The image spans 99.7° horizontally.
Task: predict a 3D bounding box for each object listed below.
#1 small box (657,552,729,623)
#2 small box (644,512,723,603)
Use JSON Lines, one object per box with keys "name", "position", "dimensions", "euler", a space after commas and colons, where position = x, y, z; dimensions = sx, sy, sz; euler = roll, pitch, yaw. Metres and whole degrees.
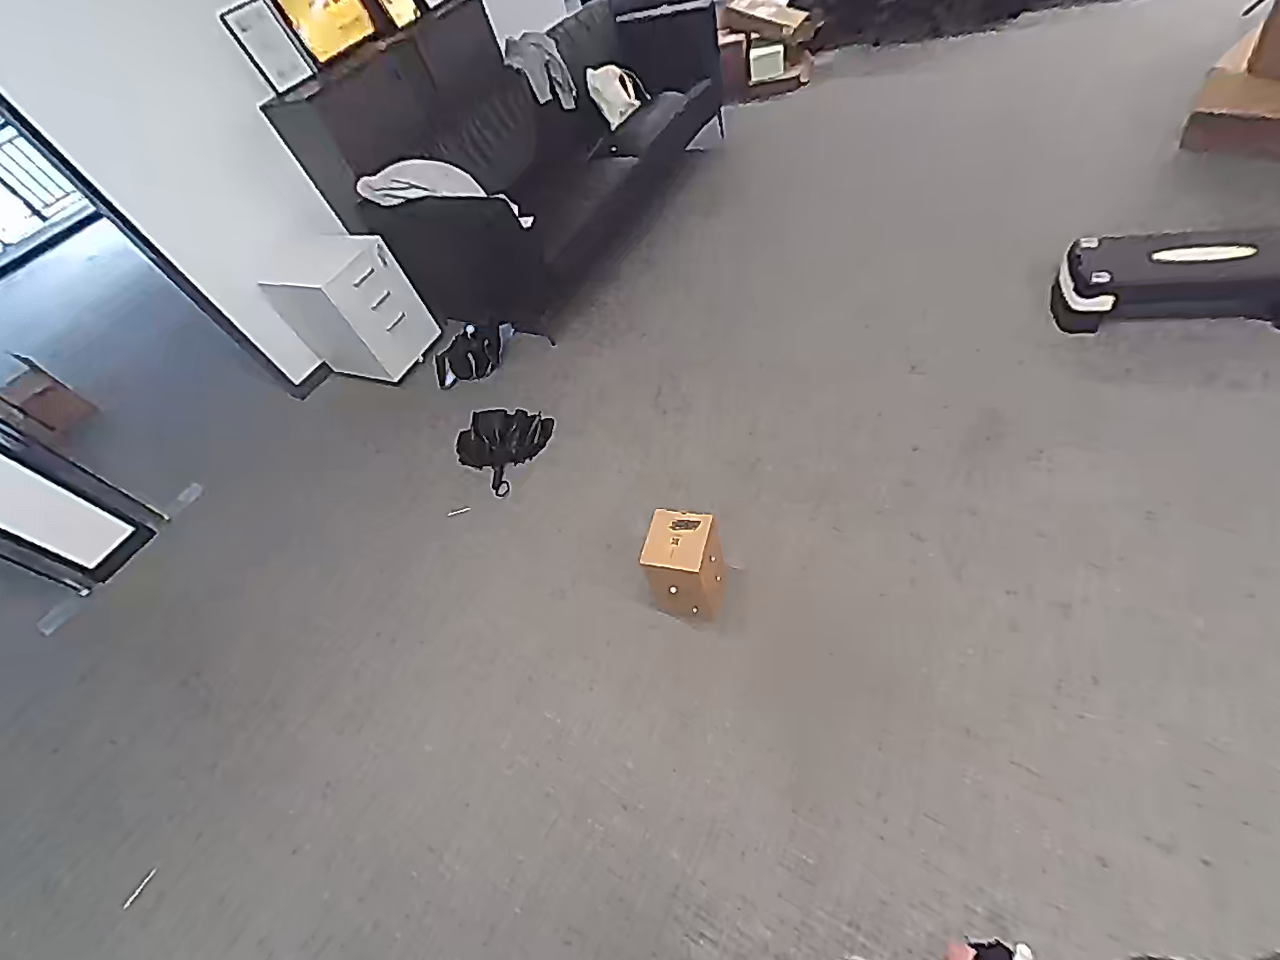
{"name": "small box", "position": [0.166, 0.309, 1.617], "dimensions": [0.168, 0.176, 0.179], "euler": [5, 53, 21]}
{"name": "small box", "position": [0.128, 0.213, 1.489], "dimensions": [0.168, 0.176, 0.179], "euler": [5, 56, 22]}
